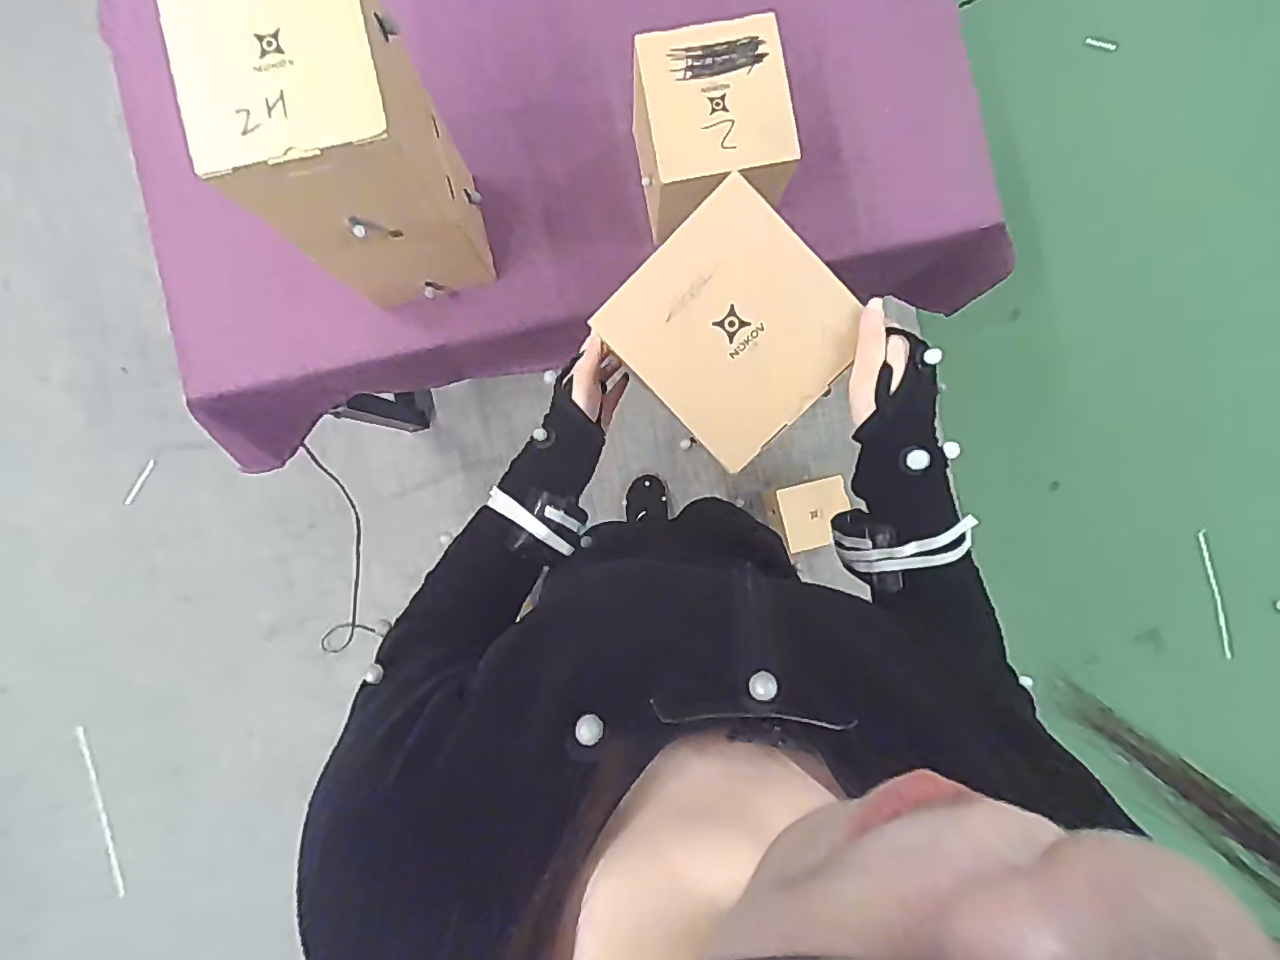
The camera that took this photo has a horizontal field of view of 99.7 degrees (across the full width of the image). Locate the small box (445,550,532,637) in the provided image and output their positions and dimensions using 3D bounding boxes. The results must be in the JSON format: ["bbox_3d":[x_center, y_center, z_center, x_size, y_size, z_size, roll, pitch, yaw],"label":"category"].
[{"bbox_3d":[-0.392,0.292,1.425,0.168,0.176,0.179,-11,89,-1],"label":"small box"}]

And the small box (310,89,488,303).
[{"bbox_3d":[-0.307,-0.348,0.694,0.179,0.176,0.168,-14,89,-2],"label":"small box"}]

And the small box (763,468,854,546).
[{"bbox_3d":[0.437,0.069,1.438,0.179,0.176,0.168,-14,91,-1],"label":"small box"}]

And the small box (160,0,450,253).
[{"bbox_3d":[-0.306,-0.353,0.528,0.168,0.176,0.179,-12,90,0],"label":"small box"}]
